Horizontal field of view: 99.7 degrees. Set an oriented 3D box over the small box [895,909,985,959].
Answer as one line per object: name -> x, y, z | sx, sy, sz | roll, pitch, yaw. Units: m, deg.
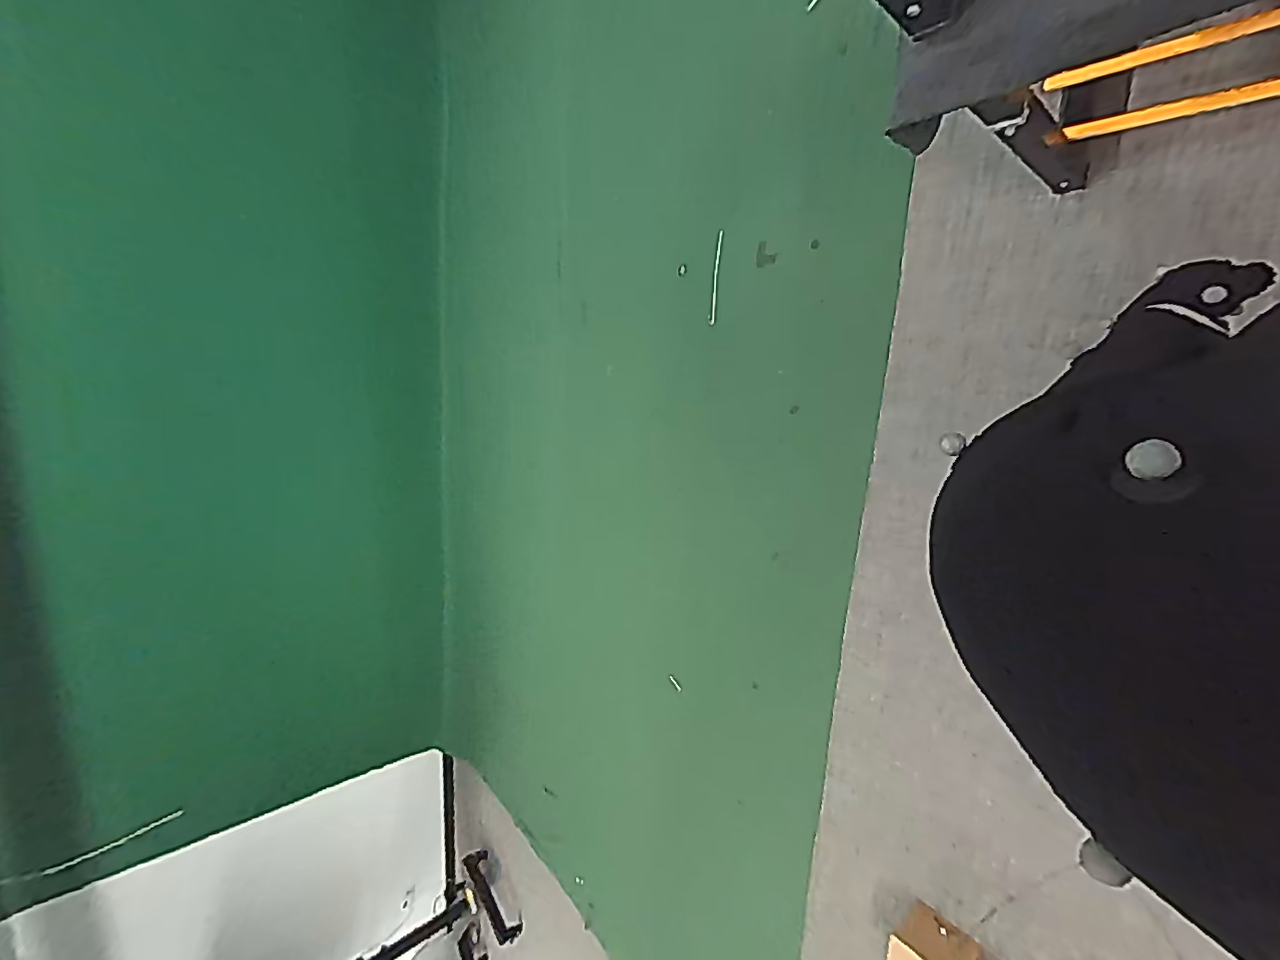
small box -> 0.798, 1.321, 1.448 | 0.168, 0.176, 0.179 | 16, 106, 48
